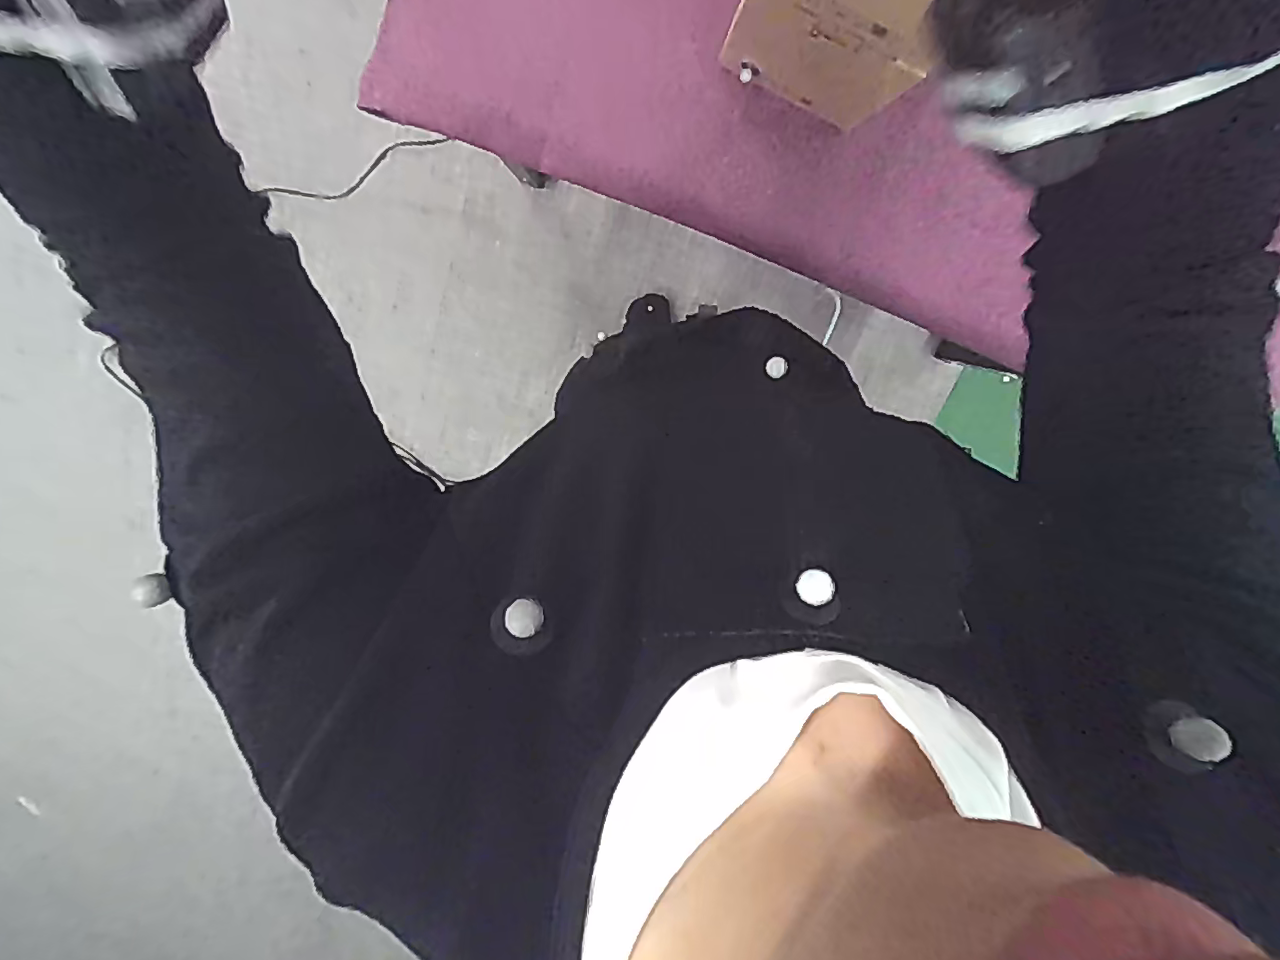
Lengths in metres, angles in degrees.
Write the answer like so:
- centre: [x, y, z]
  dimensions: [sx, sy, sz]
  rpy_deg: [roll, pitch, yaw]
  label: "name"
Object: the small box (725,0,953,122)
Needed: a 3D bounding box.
- centre: [0.191, -0.474, 0.500]
  dimensions: [0.168, 0.176, 0.179]
  rpy_deg: [21, 106, -9]
  label: "small box"
